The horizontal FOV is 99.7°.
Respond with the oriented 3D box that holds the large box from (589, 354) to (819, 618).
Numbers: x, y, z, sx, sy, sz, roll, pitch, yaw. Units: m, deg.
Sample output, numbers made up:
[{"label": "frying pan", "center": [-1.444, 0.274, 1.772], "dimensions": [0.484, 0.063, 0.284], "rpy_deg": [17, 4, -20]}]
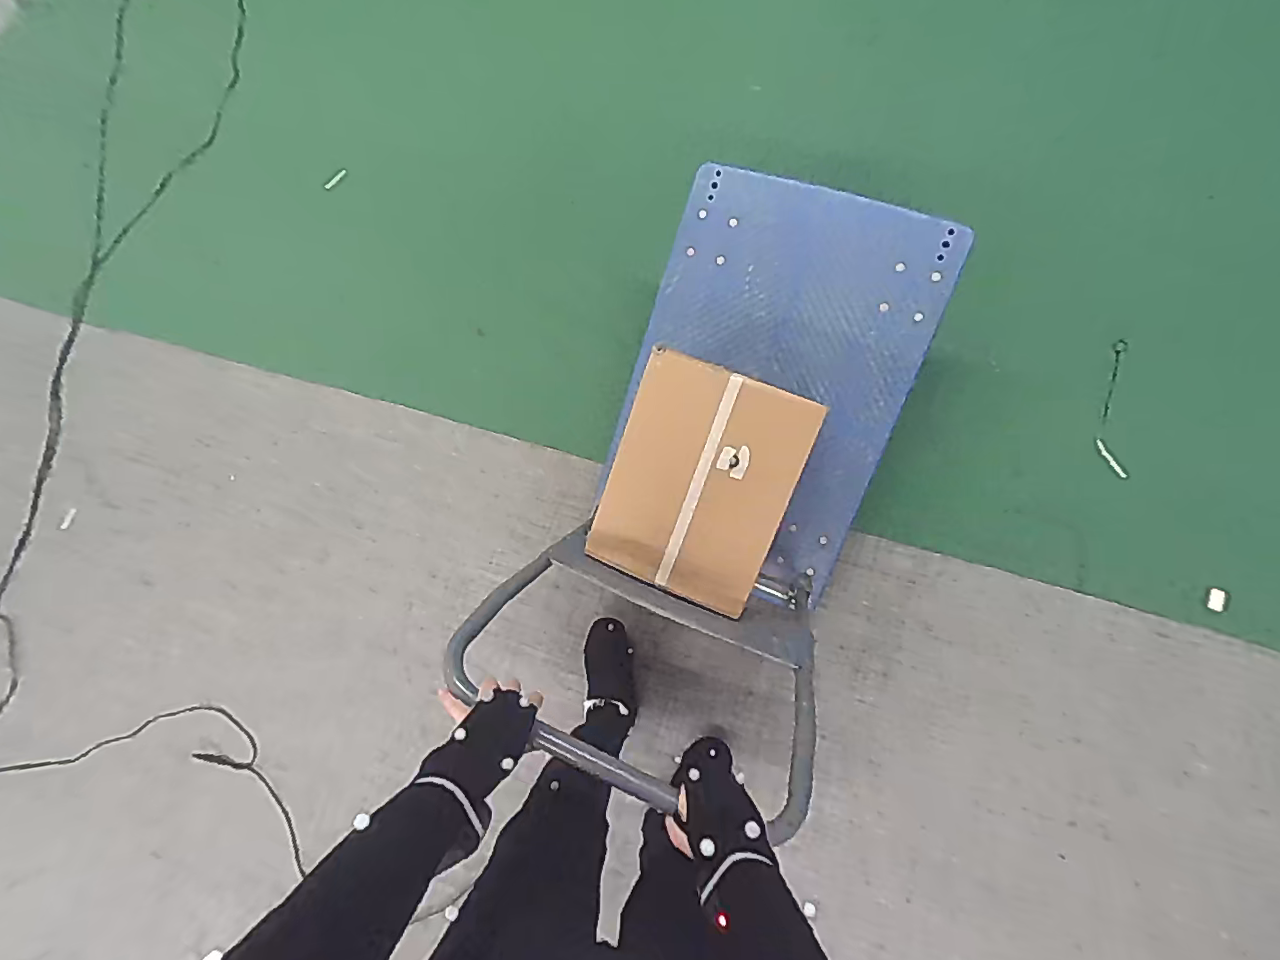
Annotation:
[{"label": "large box", "center": [0.137, -0.002, 1.104], "dimensions": [0.320, 0.320, 0.408], "rpy_deg": [22, 102, 11]}]
